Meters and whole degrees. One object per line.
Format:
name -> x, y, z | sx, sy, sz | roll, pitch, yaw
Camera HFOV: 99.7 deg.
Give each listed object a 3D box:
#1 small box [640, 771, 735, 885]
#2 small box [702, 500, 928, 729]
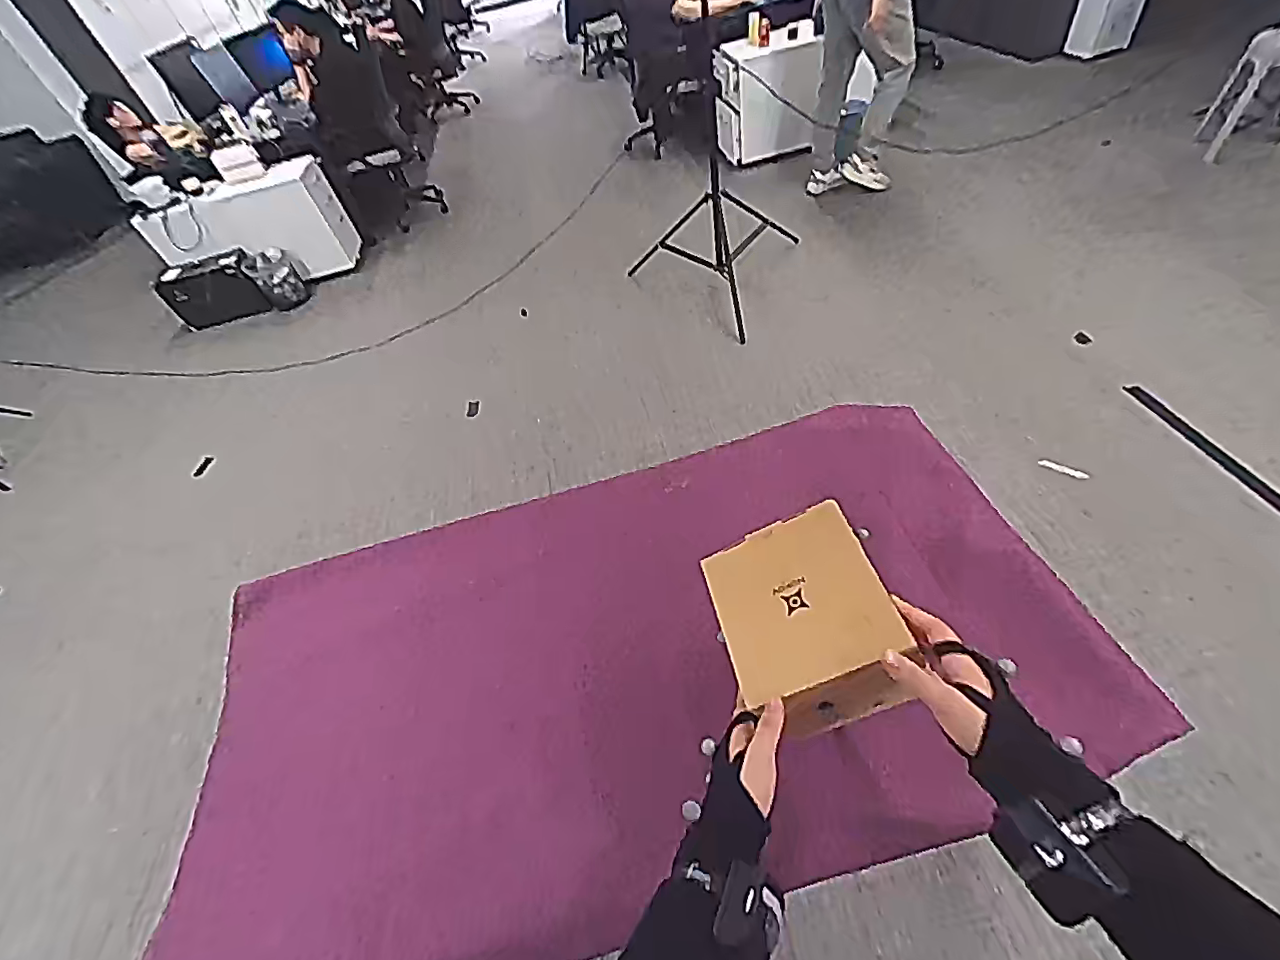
small box -> 0.106, 0.766, 1.182 | 0.168, 0.176, 0.179 | -14, 48, 0
small box -> 0.194, 0.159, 0.599 | 0.168, 0.176, 0.179 | -27, 47, 15
